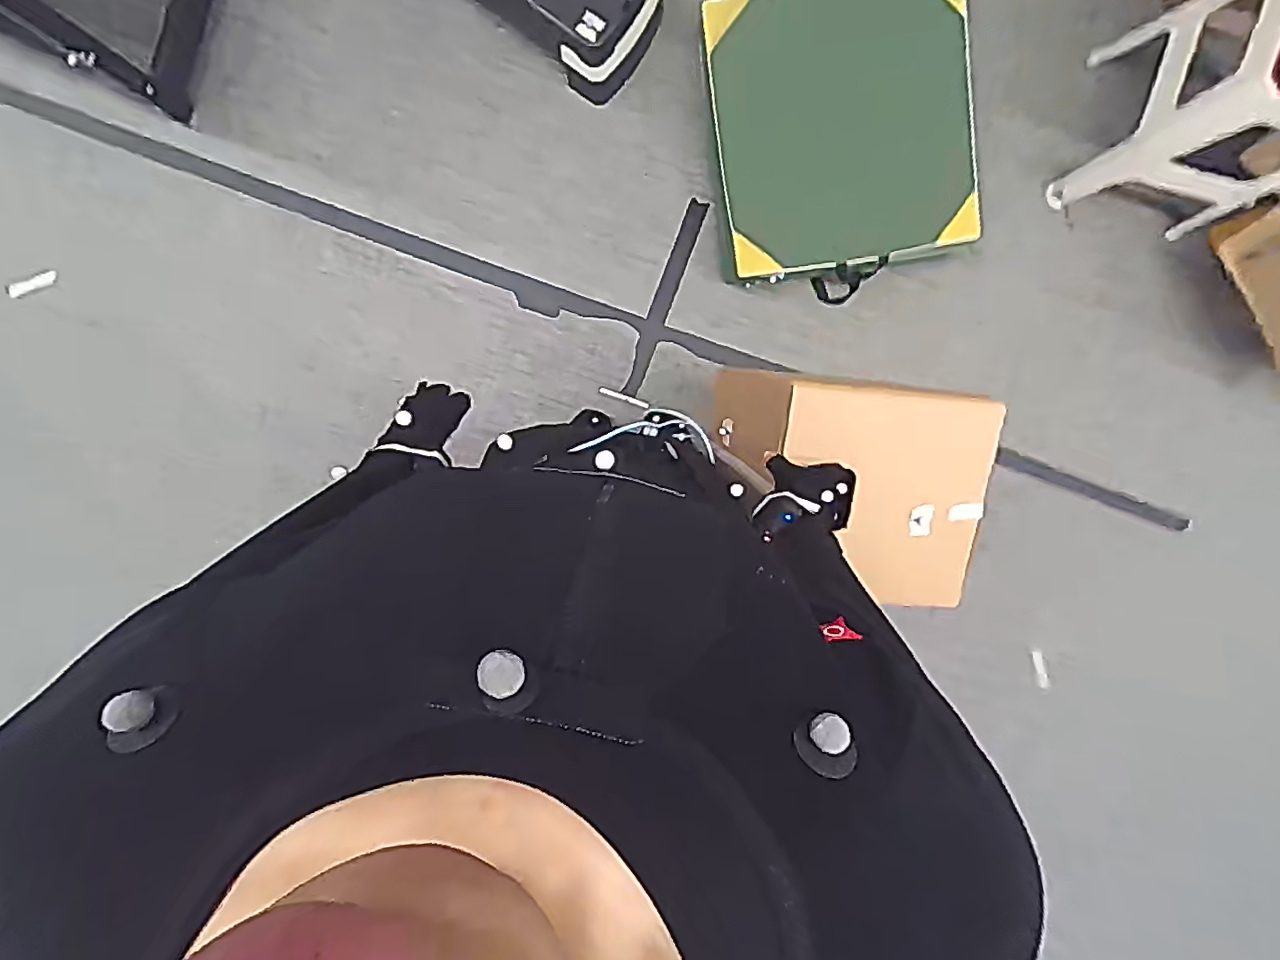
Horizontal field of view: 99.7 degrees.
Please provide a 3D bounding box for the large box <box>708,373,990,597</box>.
[{"bbox_3d":[0.324,-0.017,0.967,0.320,0.408,0.320,5,104,-5],"label":"large box"}]
